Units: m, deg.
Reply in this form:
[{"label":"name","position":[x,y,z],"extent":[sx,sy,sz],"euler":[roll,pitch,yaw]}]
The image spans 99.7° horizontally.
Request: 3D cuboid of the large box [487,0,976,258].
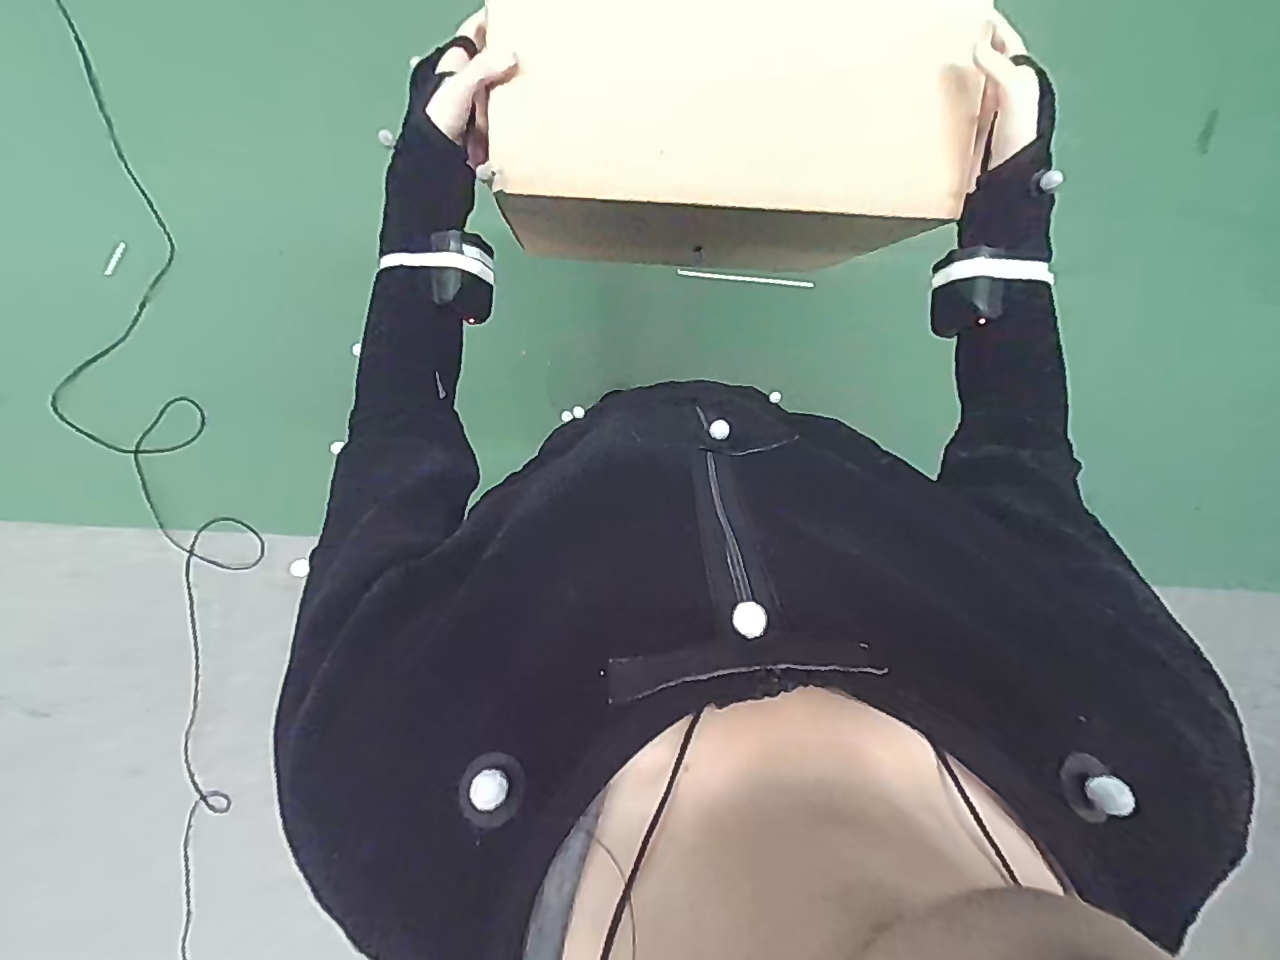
[{"label":"large box","position":[0.068,-0.422,0.574],"extent":[0.408,0.320,0.320],"euler":[1,103,-5]}]
